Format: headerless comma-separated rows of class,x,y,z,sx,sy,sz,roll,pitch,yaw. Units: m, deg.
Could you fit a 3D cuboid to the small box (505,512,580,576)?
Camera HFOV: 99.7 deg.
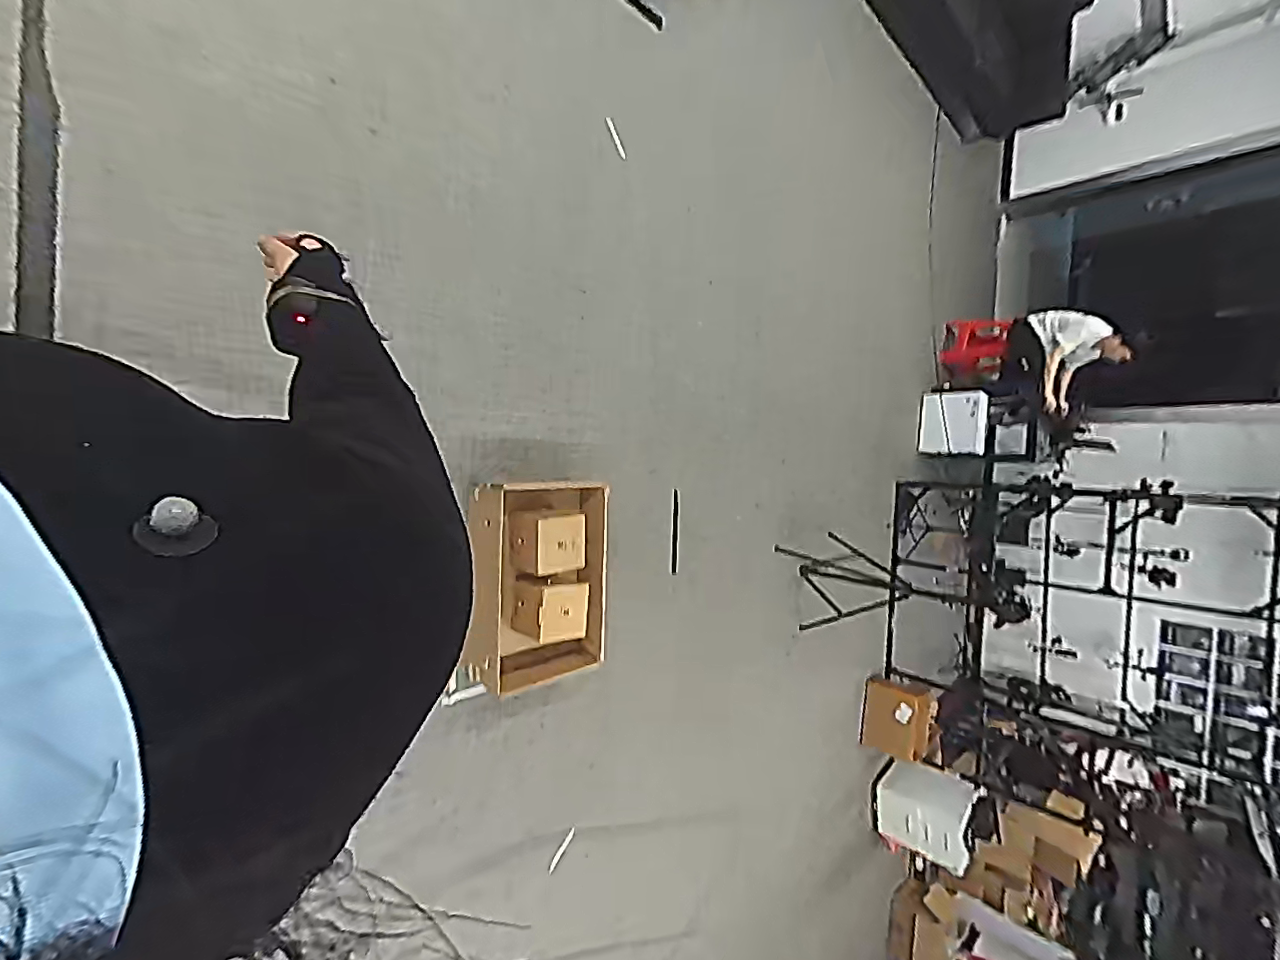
small box,-0.306,0.194,1.687,0.179,0.176,0.168,-3,97,-45

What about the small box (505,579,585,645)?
small box,-0.301,0.411,1.713,0.179,0.176,0.168,7,88,-44
